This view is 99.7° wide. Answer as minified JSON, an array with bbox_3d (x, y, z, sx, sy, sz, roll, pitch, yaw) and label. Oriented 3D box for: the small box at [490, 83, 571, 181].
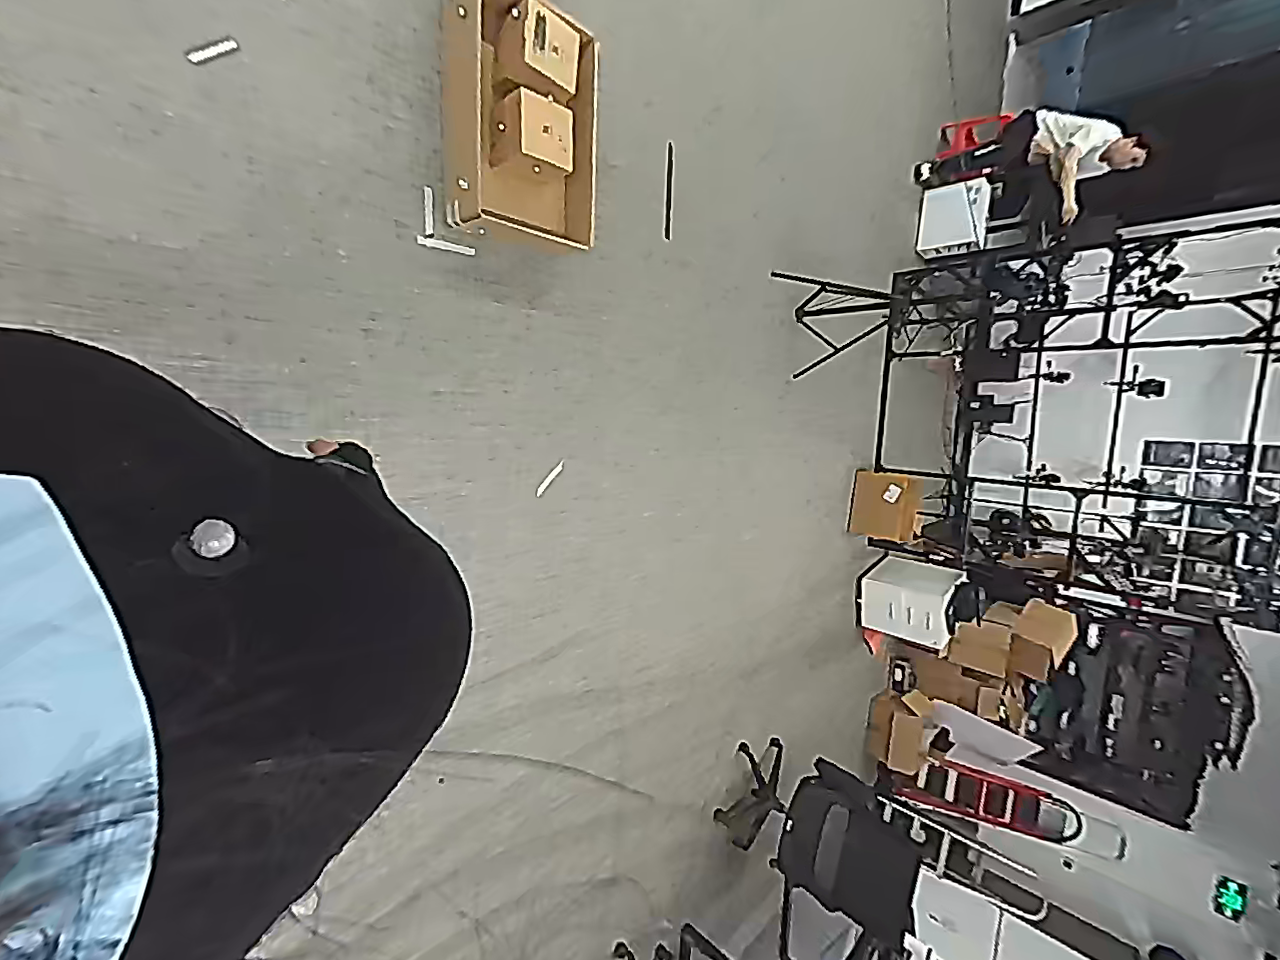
[{"bbox_3d":[-0.317,-0.984,1.549,0.179,0.176,0.168,-6,102,-45],"label":"small box"}]
